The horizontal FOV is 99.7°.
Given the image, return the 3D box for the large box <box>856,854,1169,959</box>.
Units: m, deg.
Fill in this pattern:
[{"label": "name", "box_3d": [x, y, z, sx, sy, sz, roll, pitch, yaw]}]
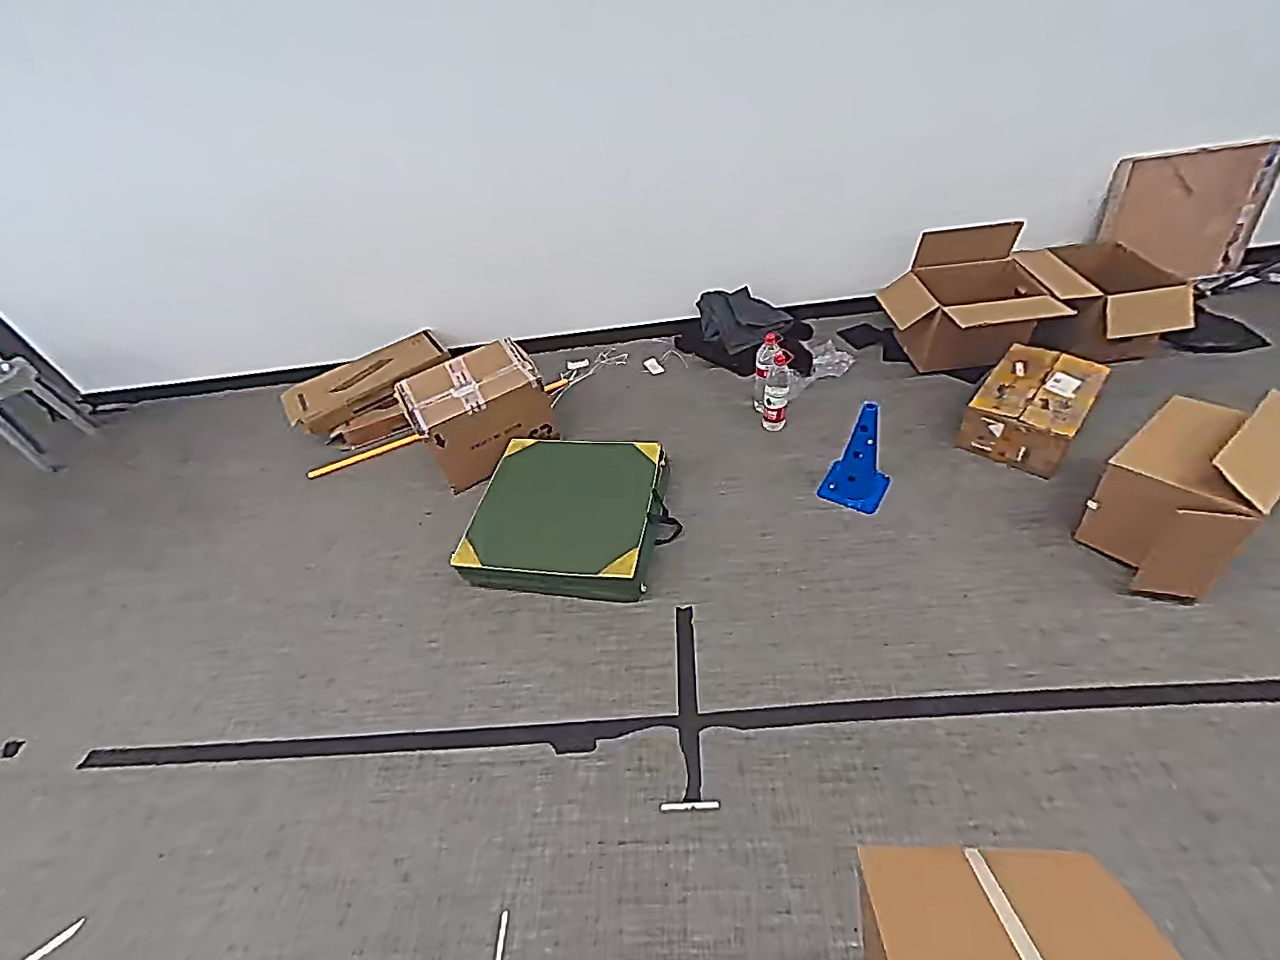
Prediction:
[{"label": "large box", "box_3d": [0.446, 0.702, 0.583, 0.320, 0.320, 0.408, -6, 3, 11]}]
